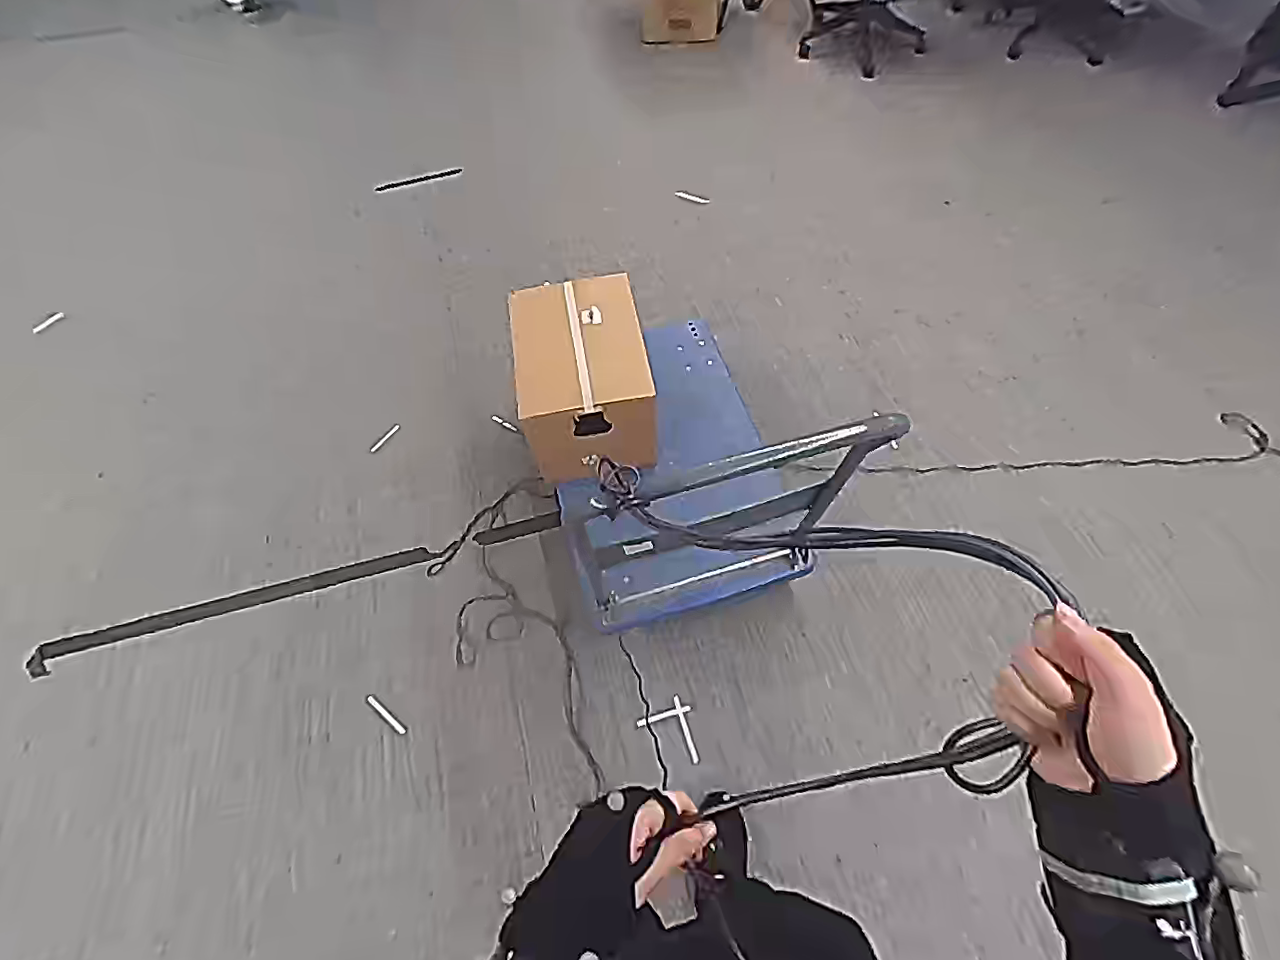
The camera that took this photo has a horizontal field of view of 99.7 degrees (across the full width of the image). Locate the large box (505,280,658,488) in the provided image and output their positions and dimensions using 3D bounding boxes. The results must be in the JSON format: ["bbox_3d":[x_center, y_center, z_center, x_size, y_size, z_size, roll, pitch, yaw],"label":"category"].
[{"bbox_3d":[-0.146,-0.245,1.419,0.320,0.320,0.408,-11,61,-3],"label":"large box"}]
